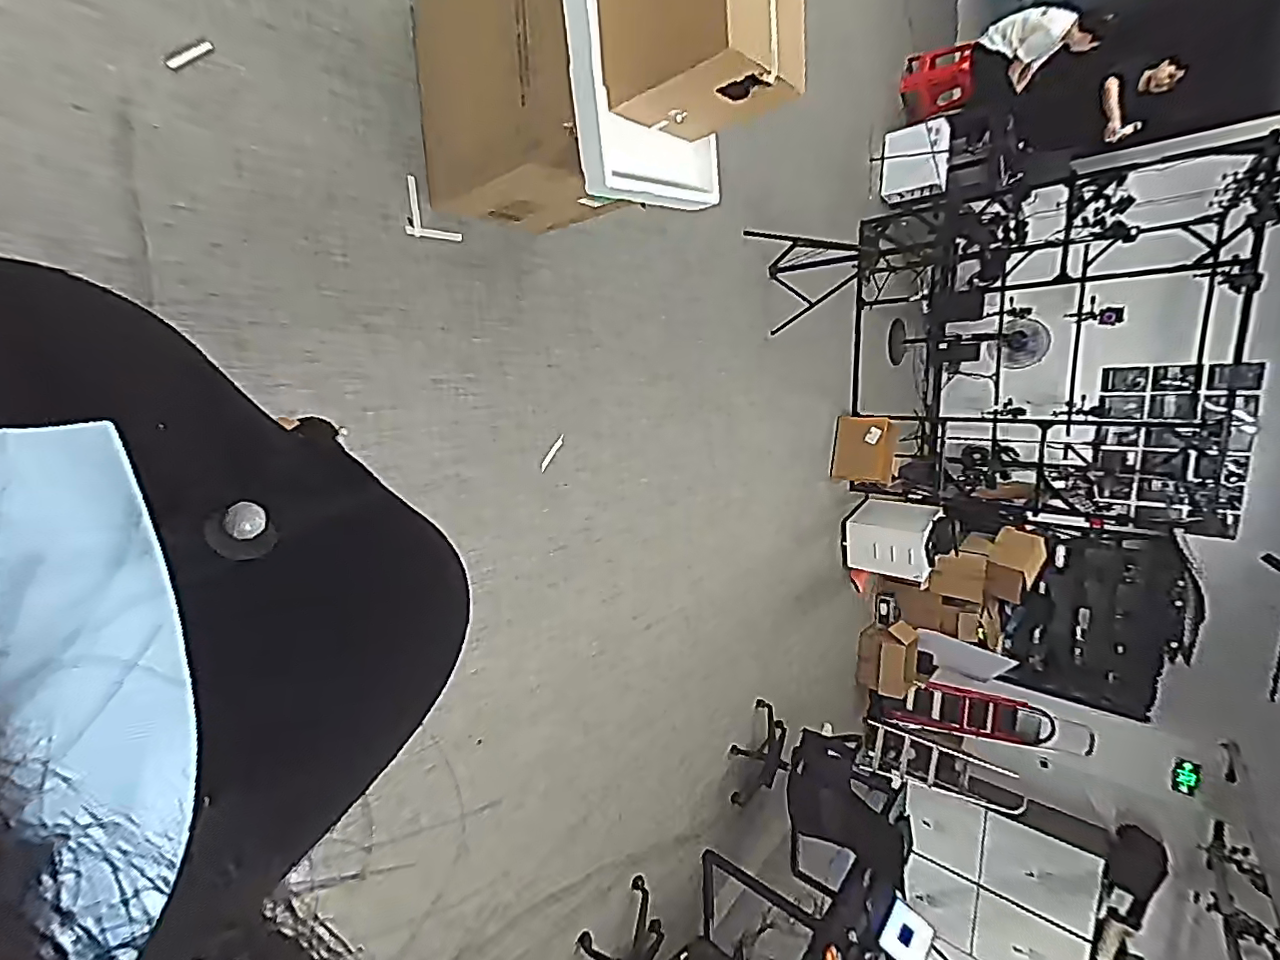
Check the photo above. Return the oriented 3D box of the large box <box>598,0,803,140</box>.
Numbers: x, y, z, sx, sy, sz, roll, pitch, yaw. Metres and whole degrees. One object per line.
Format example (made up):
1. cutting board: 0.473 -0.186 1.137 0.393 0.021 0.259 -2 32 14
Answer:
1. large box: 0.122 -0.998 1.118 0.320 0.320 0.408 -20 109 -47
